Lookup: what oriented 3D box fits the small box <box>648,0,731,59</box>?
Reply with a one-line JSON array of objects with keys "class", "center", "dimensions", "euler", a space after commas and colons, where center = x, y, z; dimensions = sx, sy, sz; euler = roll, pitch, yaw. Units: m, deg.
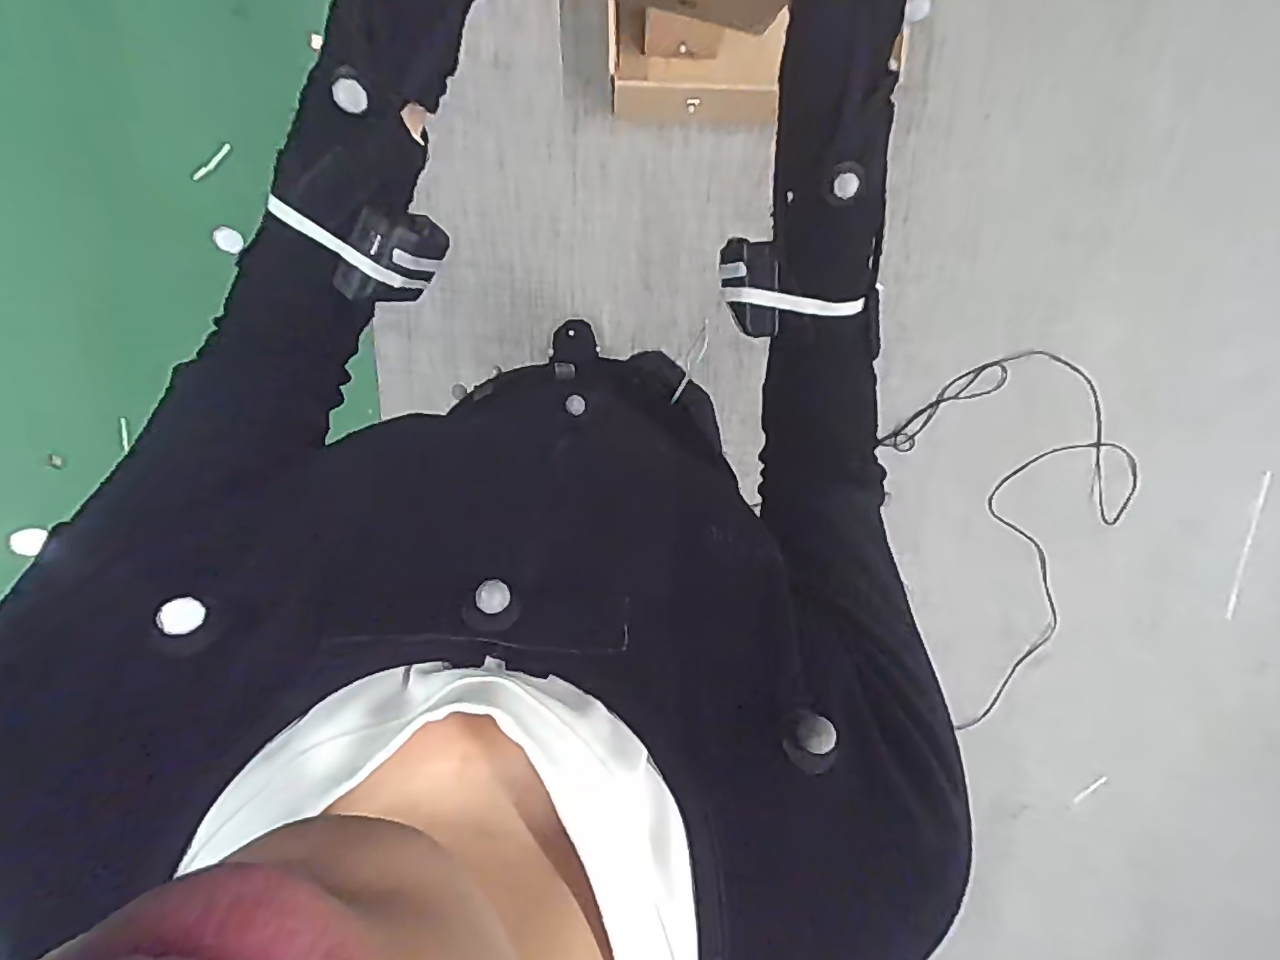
[{"class": "small box", "center": [0.104, -1.012, 1.107], "dimensions": [0.168, 0.176, 0.179], "euler": [1, 103, -3]}]

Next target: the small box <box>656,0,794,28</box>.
[{"class": "small box", "center": [0.037, -0.378, 0.274], "dimensions": [0.168, 0.176, 0.179], "euler": [10, 117, -7]}]
